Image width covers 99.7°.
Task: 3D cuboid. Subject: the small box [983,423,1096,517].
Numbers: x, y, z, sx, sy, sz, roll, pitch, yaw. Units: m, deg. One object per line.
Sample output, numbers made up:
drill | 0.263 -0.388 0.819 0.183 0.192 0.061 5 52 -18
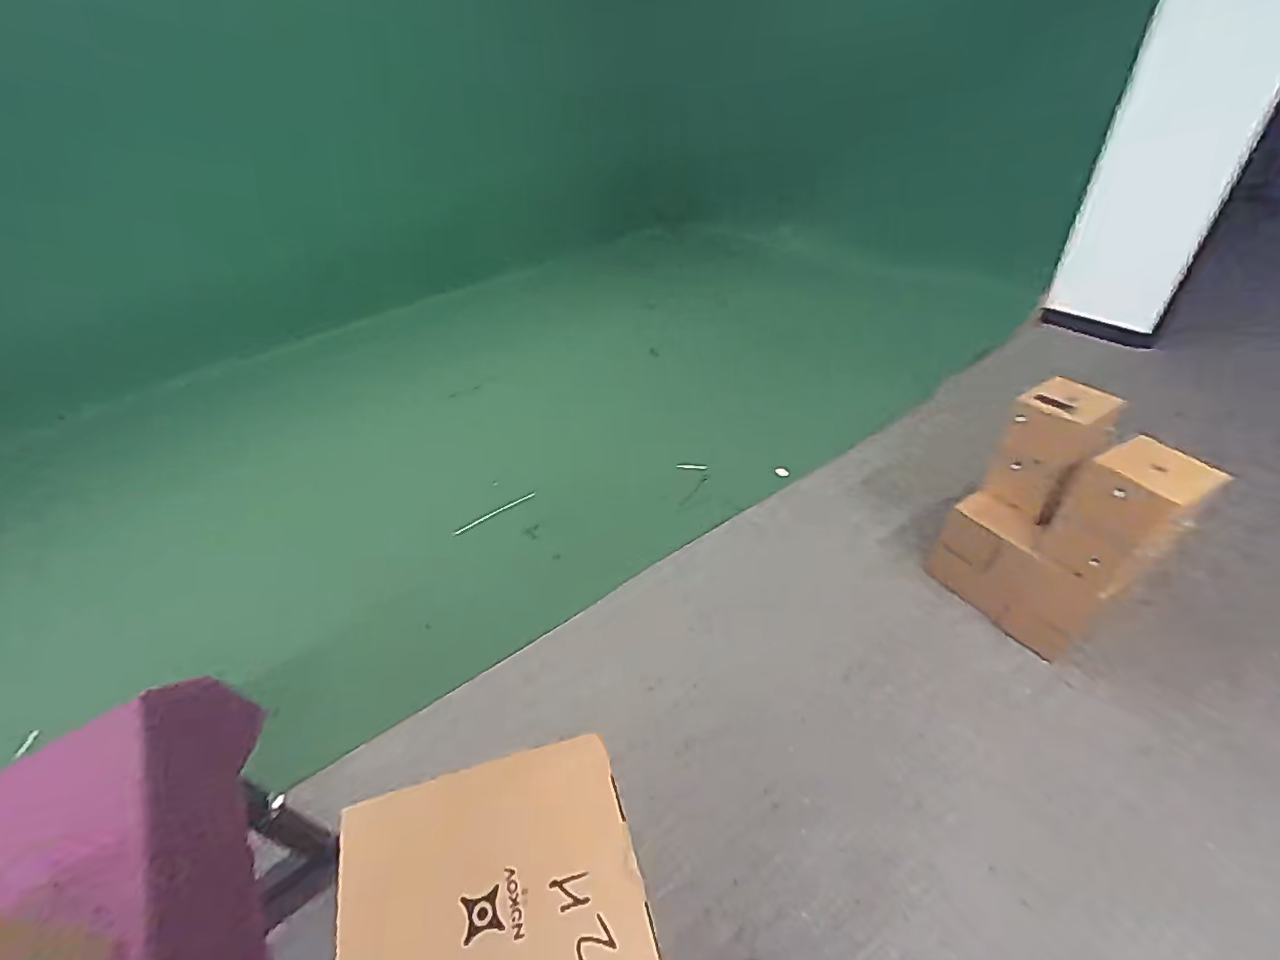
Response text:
small box | 1.106 -0.027 1.513 0.179 0.176 0.168 -22 42 -17

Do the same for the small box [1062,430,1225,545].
small box | 1.110 0.023 1.208 0.168 0.176 0.179 -22 44 -16

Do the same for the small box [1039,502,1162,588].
small box | 1.127 0.134 1.325 0.179 0.176 0.168 -22 45 -17
